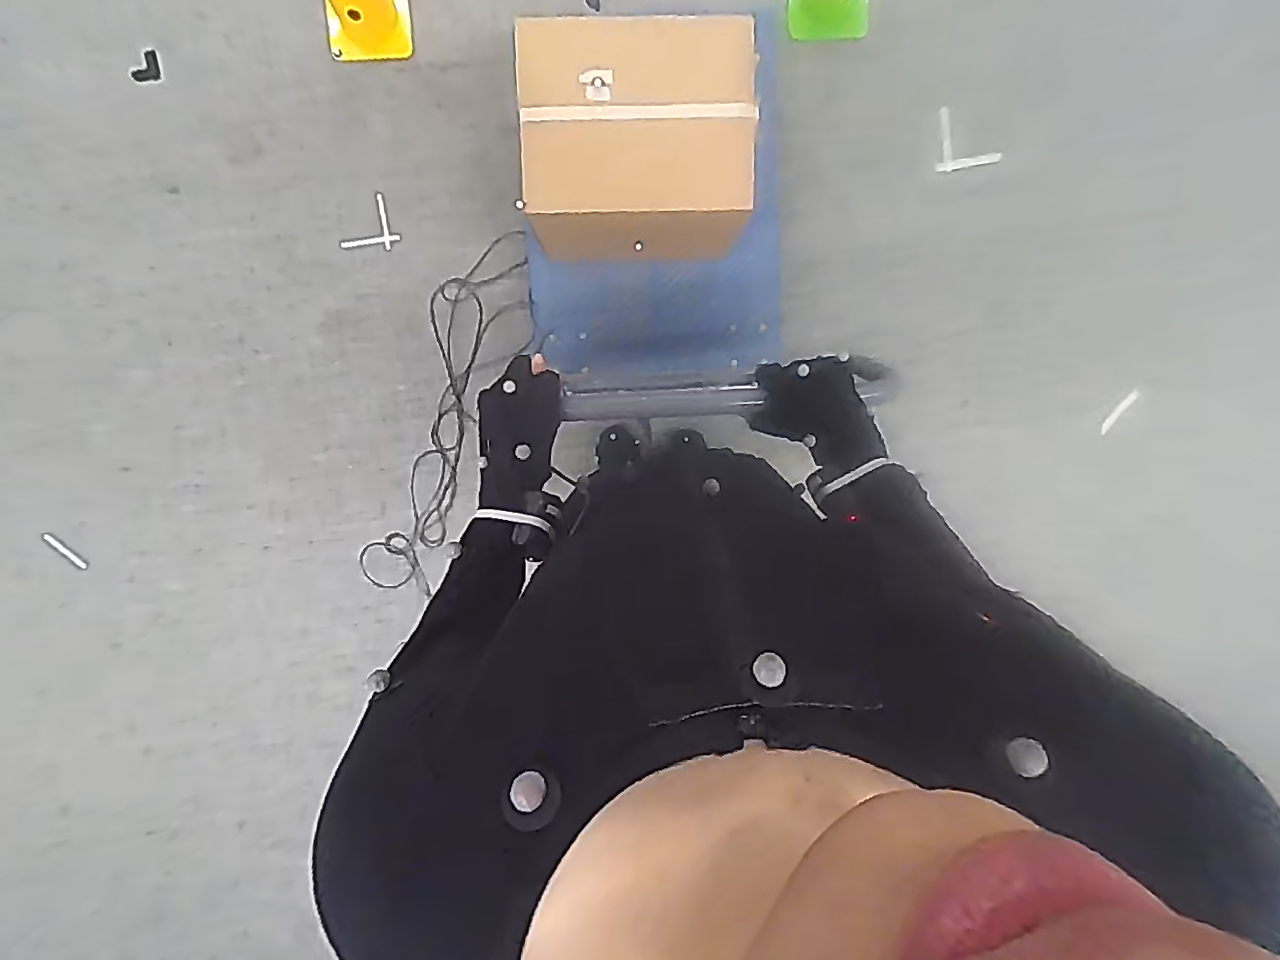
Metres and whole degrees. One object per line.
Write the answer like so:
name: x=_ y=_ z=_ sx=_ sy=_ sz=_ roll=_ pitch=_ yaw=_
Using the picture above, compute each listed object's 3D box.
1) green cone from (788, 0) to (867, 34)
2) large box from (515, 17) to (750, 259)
green cone: x=0.469 y=-1.192 z=1.165 sx=0.202 sy=0.368 sz=0.200 roll=-3 pitch=97 yaw=-2
large box: x=-0.008 y=-0.642 z=1.079 sx=0.408 sy=0.320 sz=0.320 roll=-1 pitch=97 yaw=0
